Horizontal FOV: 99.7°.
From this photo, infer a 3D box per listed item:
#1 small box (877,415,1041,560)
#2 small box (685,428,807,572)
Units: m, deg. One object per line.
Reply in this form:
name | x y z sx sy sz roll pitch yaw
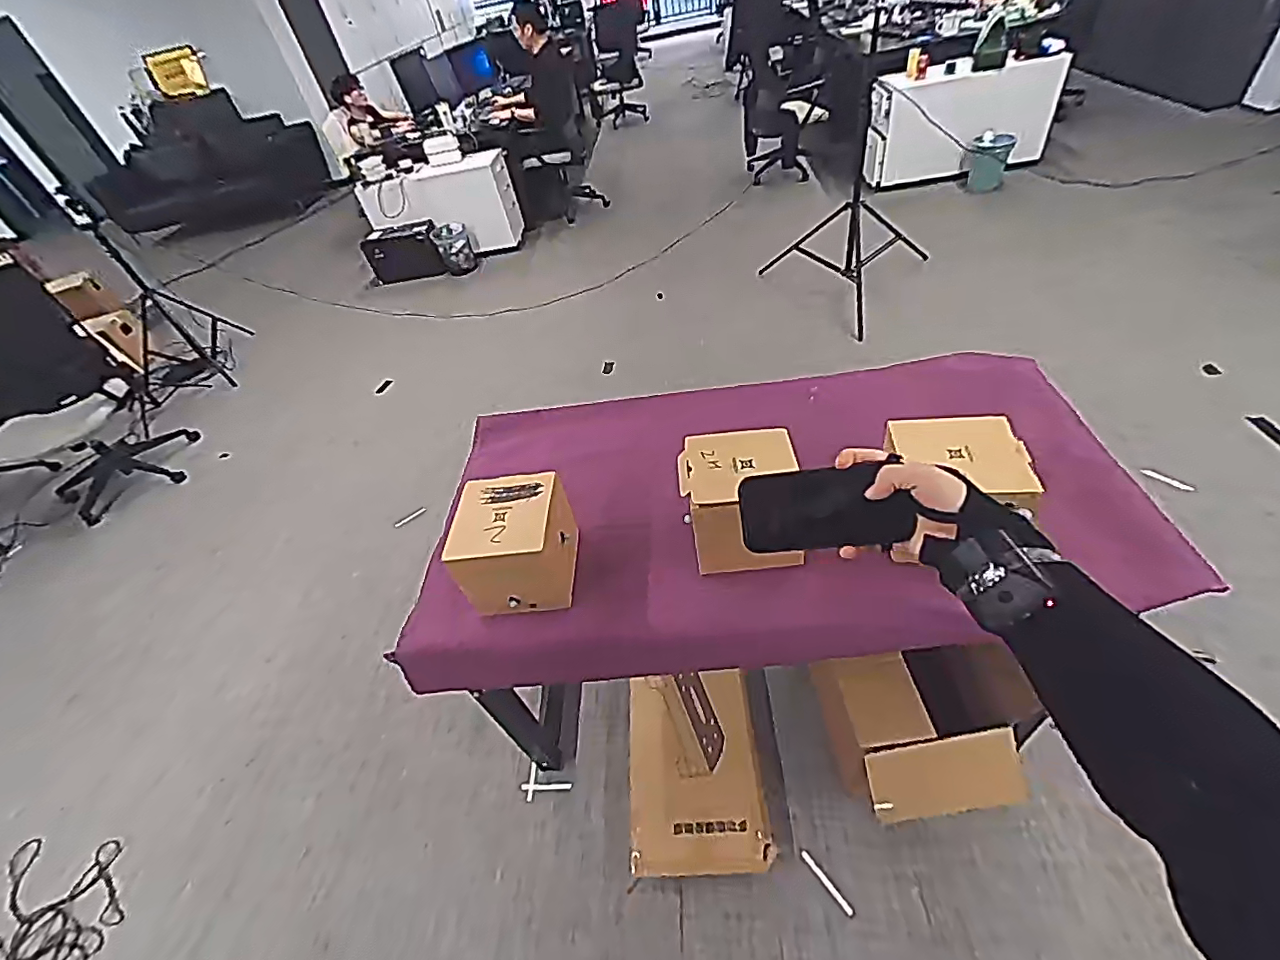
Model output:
small box | 0.487 0.015 0.862 0.179 0.176 0.168 -2 45 11
small box | 0.174 0.037 0.915 0.179 0.176 0.168 -7 42 7
